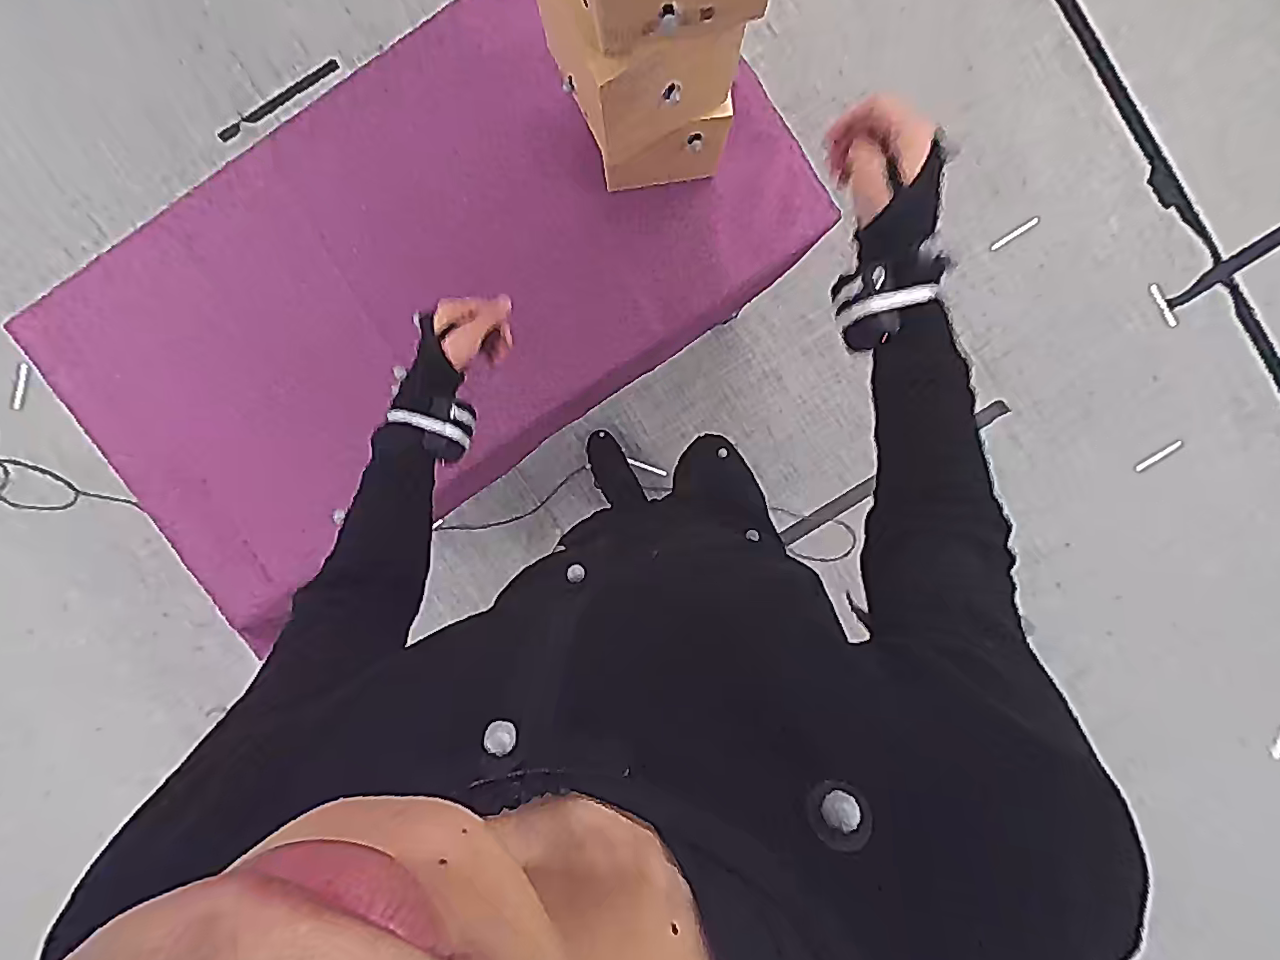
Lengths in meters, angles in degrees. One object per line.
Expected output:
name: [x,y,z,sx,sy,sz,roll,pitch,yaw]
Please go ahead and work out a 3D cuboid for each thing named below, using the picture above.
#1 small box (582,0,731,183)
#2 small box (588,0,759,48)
small box: [0.021,-0.549,0.765,0.179,0.176,0.168,-8,95,1]
small box: [0.018,-0.512,0.439,0.168,0.176,0.179,-12,97,3]
